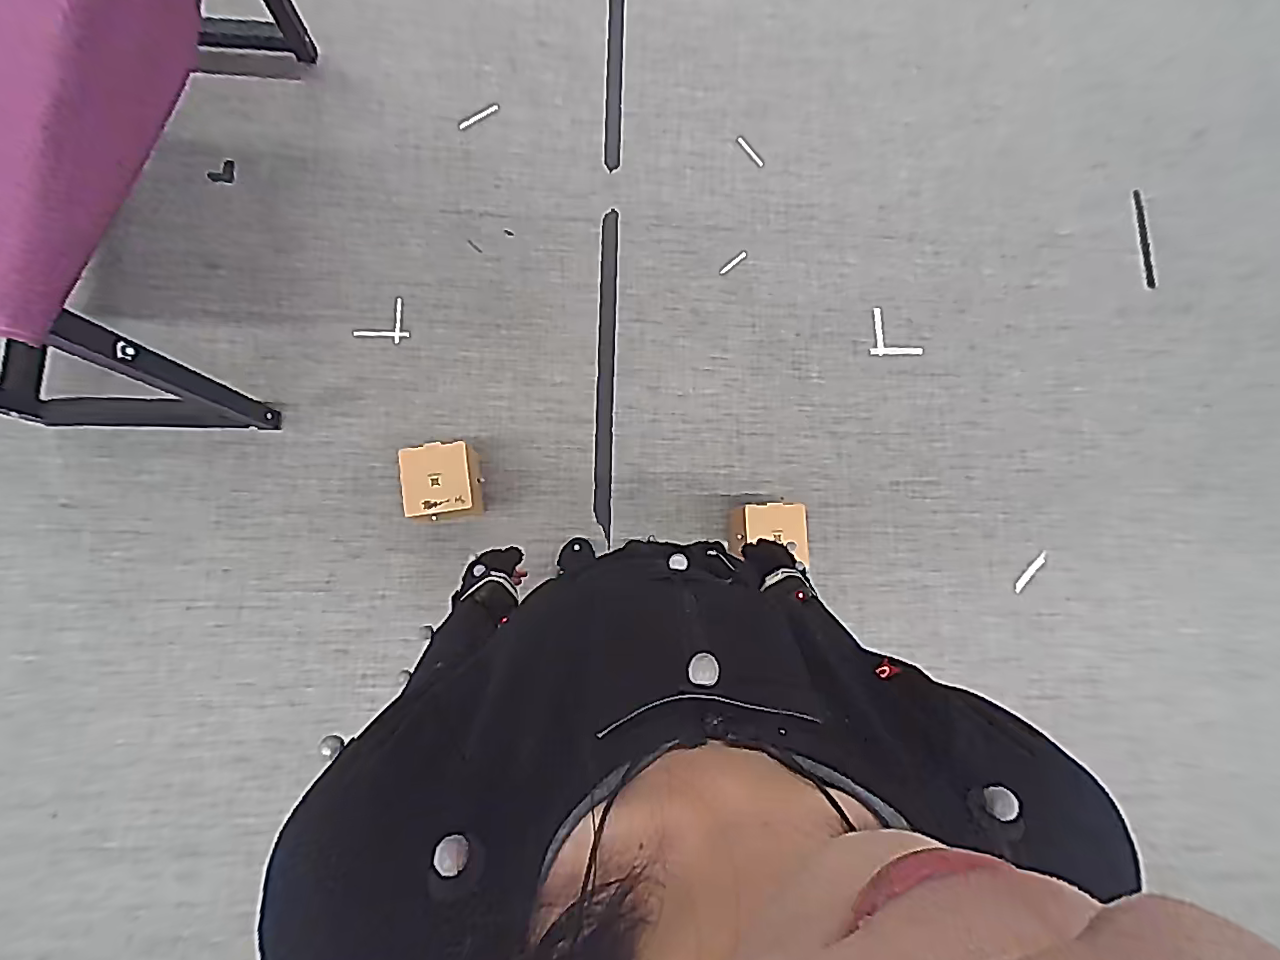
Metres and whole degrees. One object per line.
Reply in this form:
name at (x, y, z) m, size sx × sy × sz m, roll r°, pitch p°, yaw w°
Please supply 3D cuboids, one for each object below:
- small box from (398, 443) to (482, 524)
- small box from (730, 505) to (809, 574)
small box at (-0.517, 0.014, 1.414) m, size 0.168 × 0.176 × 0.179 m, roll -8°, pitch 82°, yaw -7°
small box at (0.350, 0.166, 1.487) m, size 0.168 × 0.176 × 0.179 m, roll -2°, pitch 83°, yaw -5°
